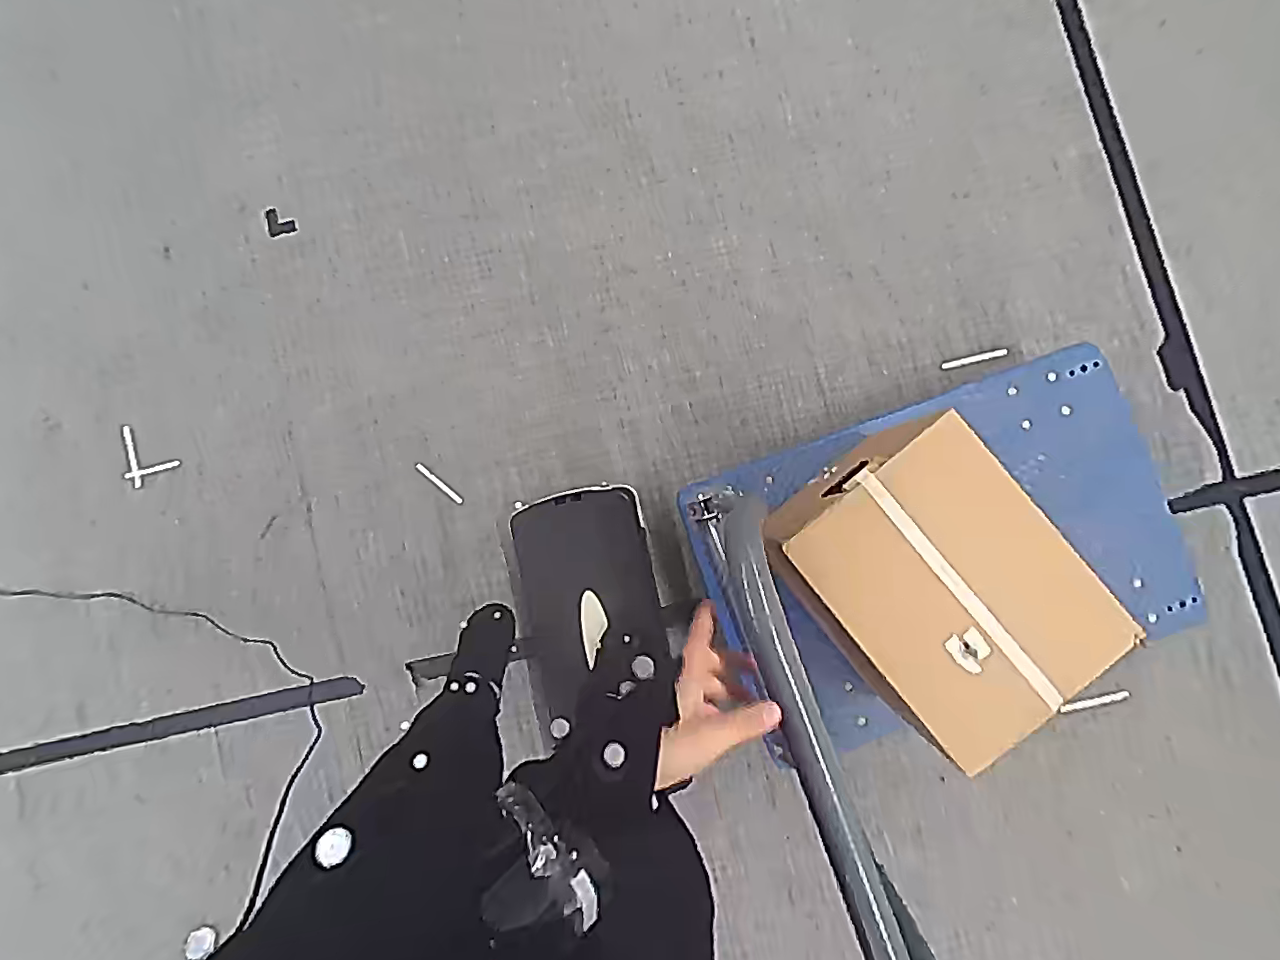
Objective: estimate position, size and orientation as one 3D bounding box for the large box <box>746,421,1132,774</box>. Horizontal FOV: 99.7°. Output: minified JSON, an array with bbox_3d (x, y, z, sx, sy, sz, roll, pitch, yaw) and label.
[{"bbox_3d":[0.441,0.166,0.901,0.320,0.320,0.408,-39,87,0],"label":"large box"}]
